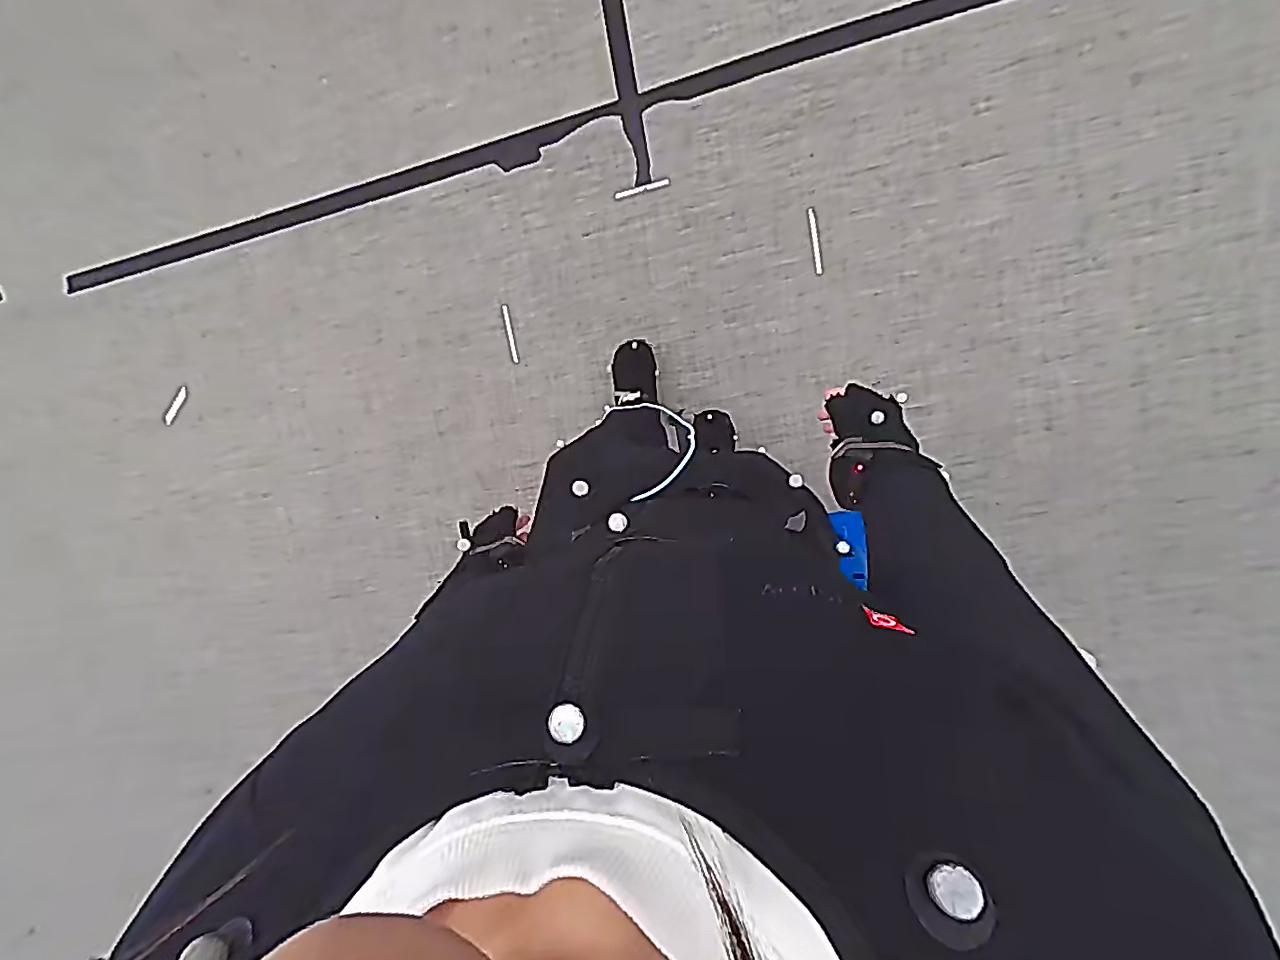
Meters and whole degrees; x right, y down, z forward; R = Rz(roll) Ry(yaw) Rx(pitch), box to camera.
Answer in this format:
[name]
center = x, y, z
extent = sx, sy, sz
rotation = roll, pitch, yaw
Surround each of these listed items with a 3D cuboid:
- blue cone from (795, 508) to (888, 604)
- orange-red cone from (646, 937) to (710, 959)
[blue cone]
center = 0.480, 0.198, 1.234
extent = 0.192, 0.380, 0.193
rotation = -5, 98, 9
[orange-red cone]
center = 0.092, 1.518, 1.491
extent = 0.199, 0.360, 0.198
rotation = -4, 97, 11
